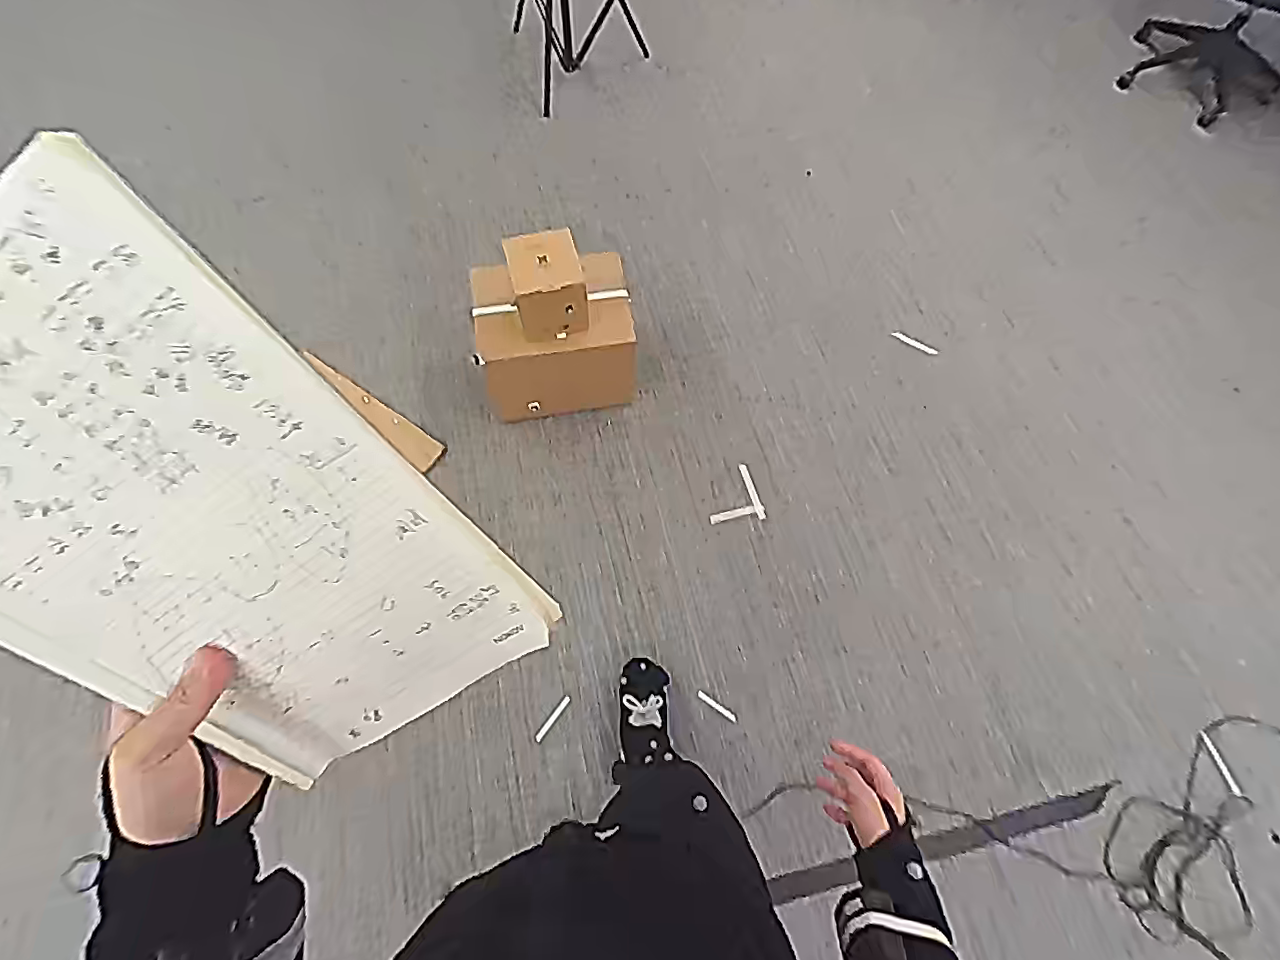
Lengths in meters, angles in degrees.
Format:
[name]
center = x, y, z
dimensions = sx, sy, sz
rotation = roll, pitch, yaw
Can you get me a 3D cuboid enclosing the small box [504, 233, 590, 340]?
[small box]
center = -0.223, -0.463, 1.323
dimensions = 0.168, 0.176, 0.179
rotation = -14, 68, -9
